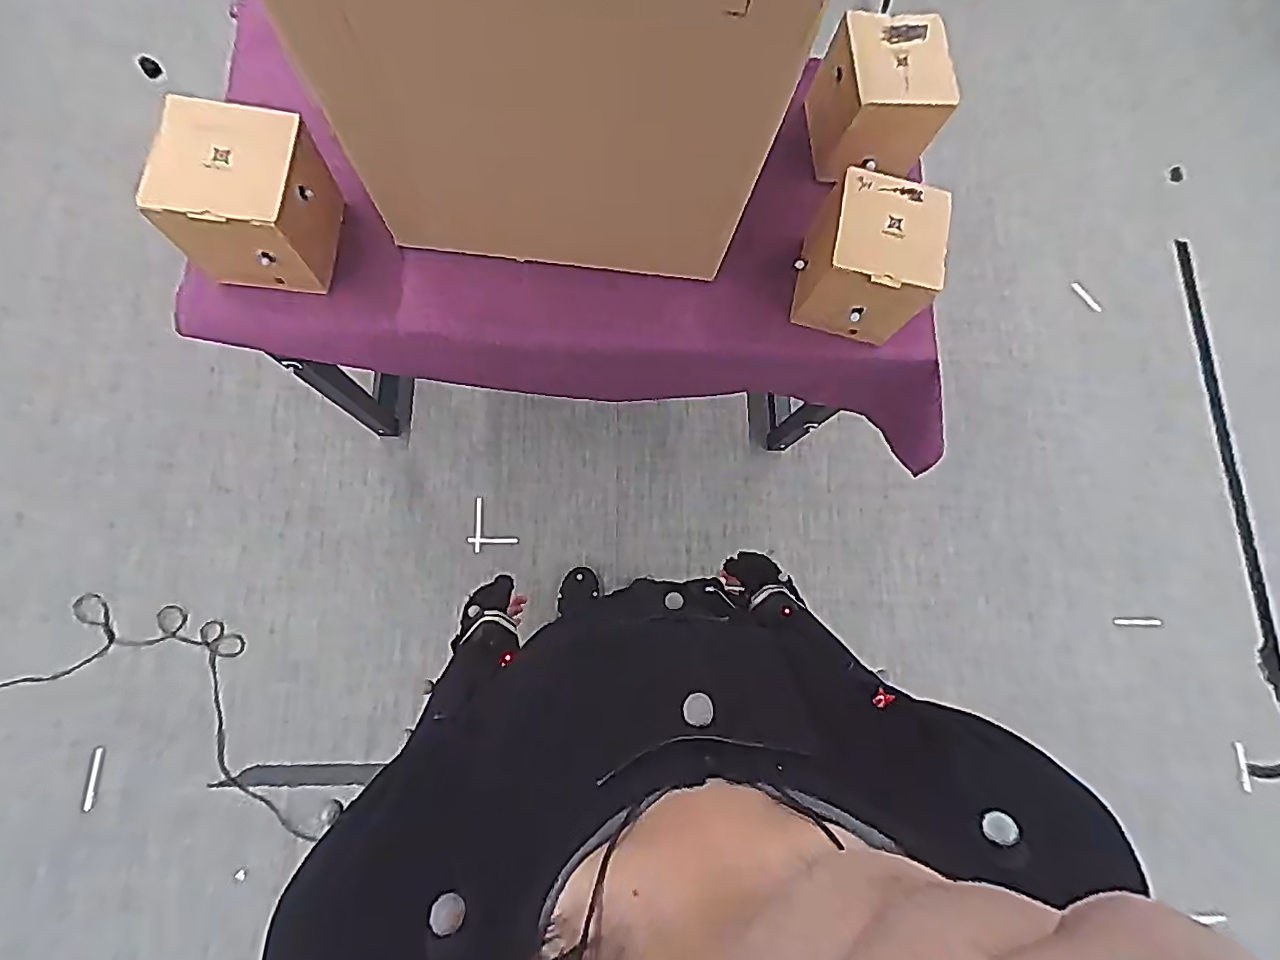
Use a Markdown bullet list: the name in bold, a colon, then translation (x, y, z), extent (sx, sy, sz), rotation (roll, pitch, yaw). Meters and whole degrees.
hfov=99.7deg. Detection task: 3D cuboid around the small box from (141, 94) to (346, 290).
- **small box**: translation (-0.548, -0.399, 0.777), extent (0.168, 0.176, 0.179), rotation (4, 76, -8)
